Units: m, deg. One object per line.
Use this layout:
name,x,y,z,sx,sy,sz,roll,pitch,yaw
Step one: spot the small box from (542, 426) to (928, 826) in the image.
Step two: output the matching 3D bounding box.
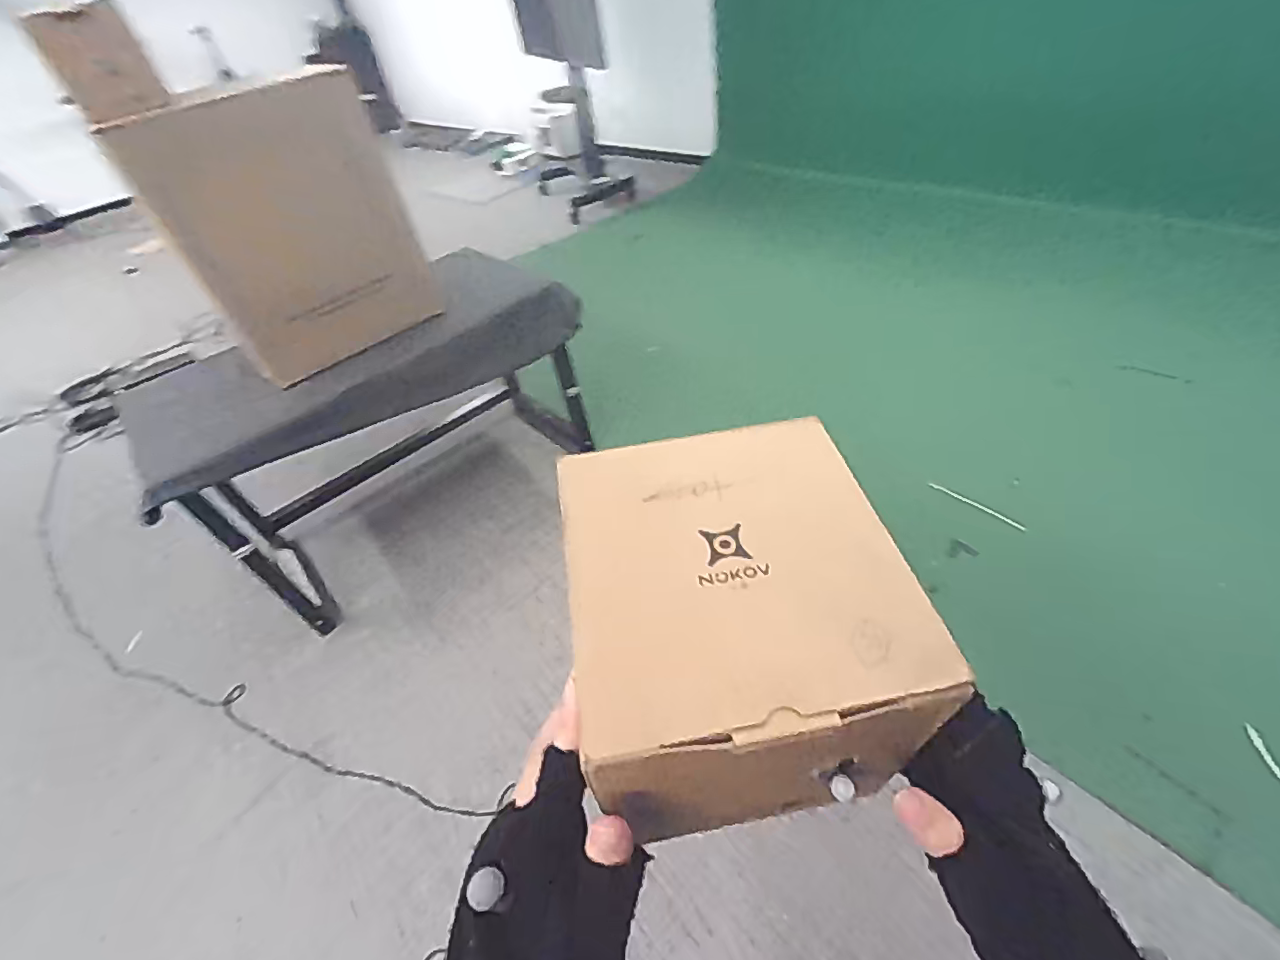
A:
small box,0.037,0.094,0.338,0.168,0.176,0.179,-8,45,-4

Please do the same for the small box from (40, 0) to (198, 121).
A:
small box,-1.053,-0.854,1.104,0.168,0.176,0.179,-36,51,-24
